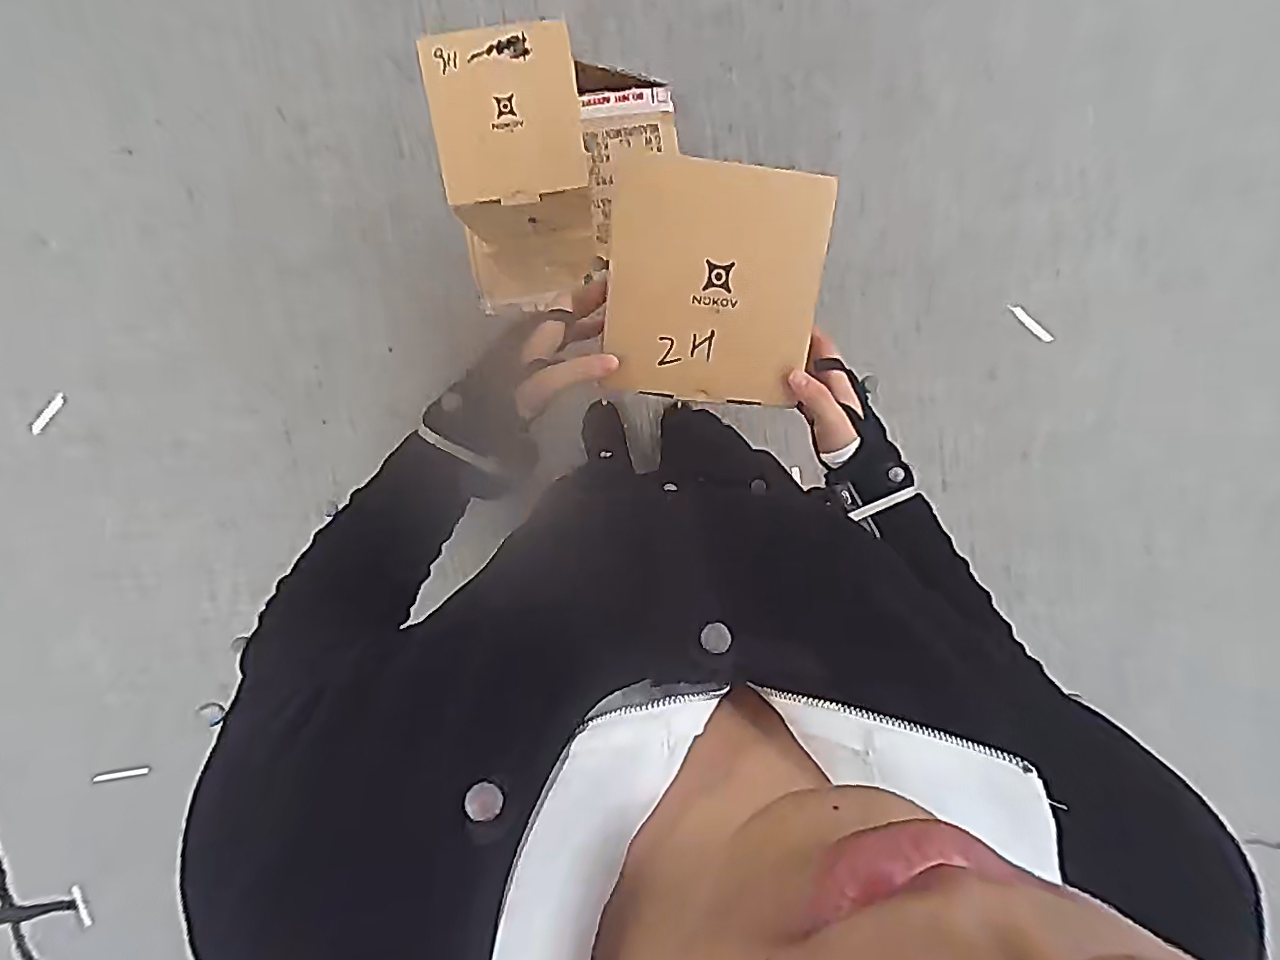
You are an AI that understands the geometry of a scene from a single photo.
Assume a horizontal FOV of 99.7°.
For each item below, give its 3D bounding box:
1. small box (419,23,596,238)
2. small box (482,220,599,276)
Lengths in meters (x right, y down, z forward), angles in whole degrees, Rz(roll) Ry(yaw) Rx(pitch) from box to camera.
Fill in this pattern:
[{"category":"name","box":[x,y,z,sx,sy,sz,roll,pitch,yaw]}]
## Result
[{"category":"small box","box":[-0.149,-0.415,0.676,0.168,0.176,0.179,-8,102,-1]},{"category":"small box","box":[-0.158,-0.432,0.839,0.168,0.176,0.179,-10,102,0]}]
